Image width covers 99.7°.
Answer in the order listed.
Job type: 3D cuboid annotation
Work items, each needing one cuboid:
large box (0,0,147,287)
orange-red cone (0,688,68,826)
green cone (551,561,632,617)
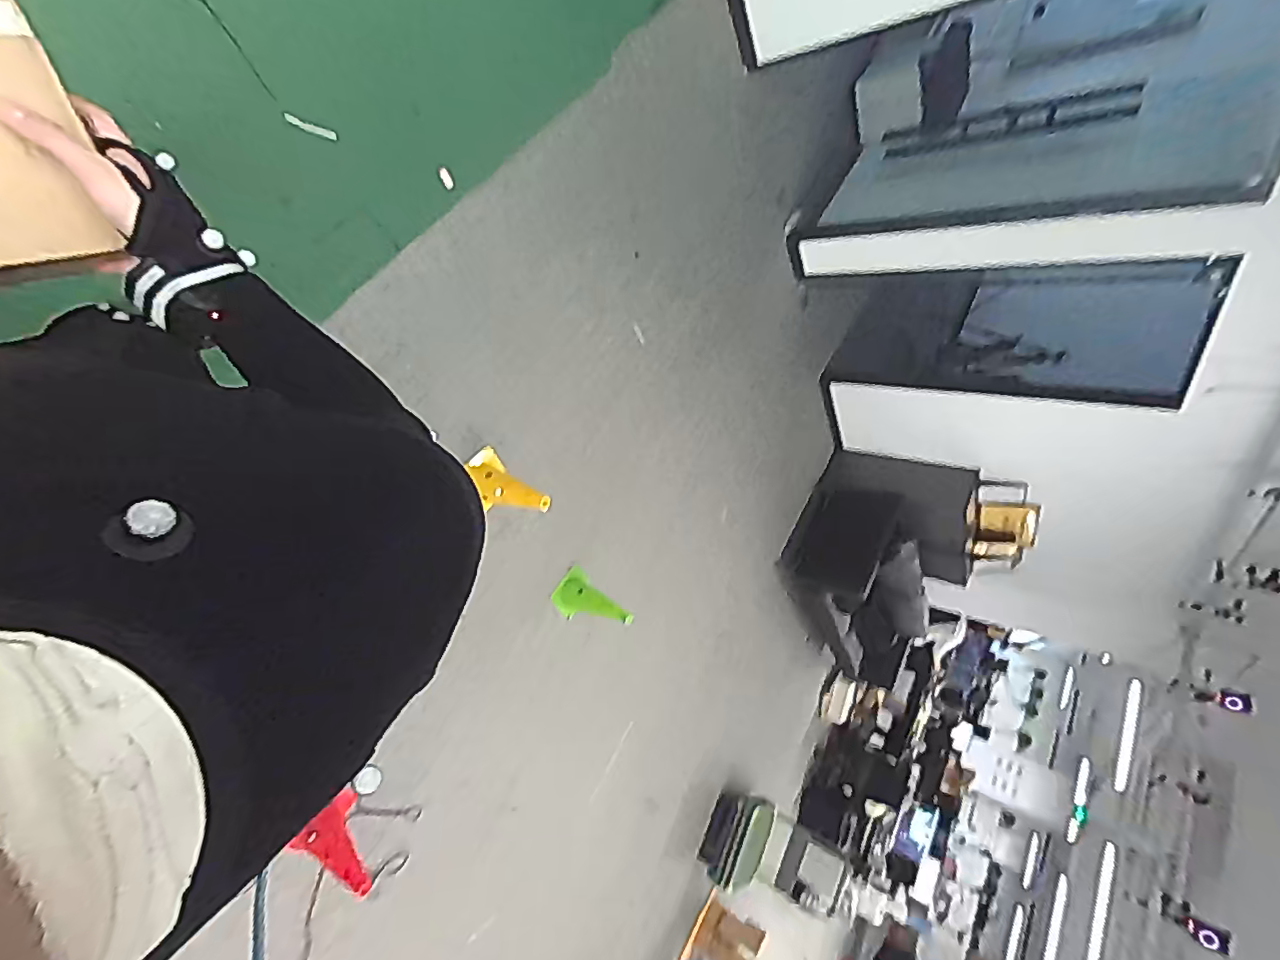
[{"bbox_3d":[-0.702,-0.288,0.397,0.408,0.320,0.320,-31,124,-37],"label":"large box"},{"bbox_3d":[-1.261,0.589,1.031,0.199,0.360,0.198,-50,135,-27],"label":"orange-red cone"},{"bbox_3d":[-0.179,0.522,2.370,0.200,0.368,0.202,-53,136,-27],"label":"green cone"}]
